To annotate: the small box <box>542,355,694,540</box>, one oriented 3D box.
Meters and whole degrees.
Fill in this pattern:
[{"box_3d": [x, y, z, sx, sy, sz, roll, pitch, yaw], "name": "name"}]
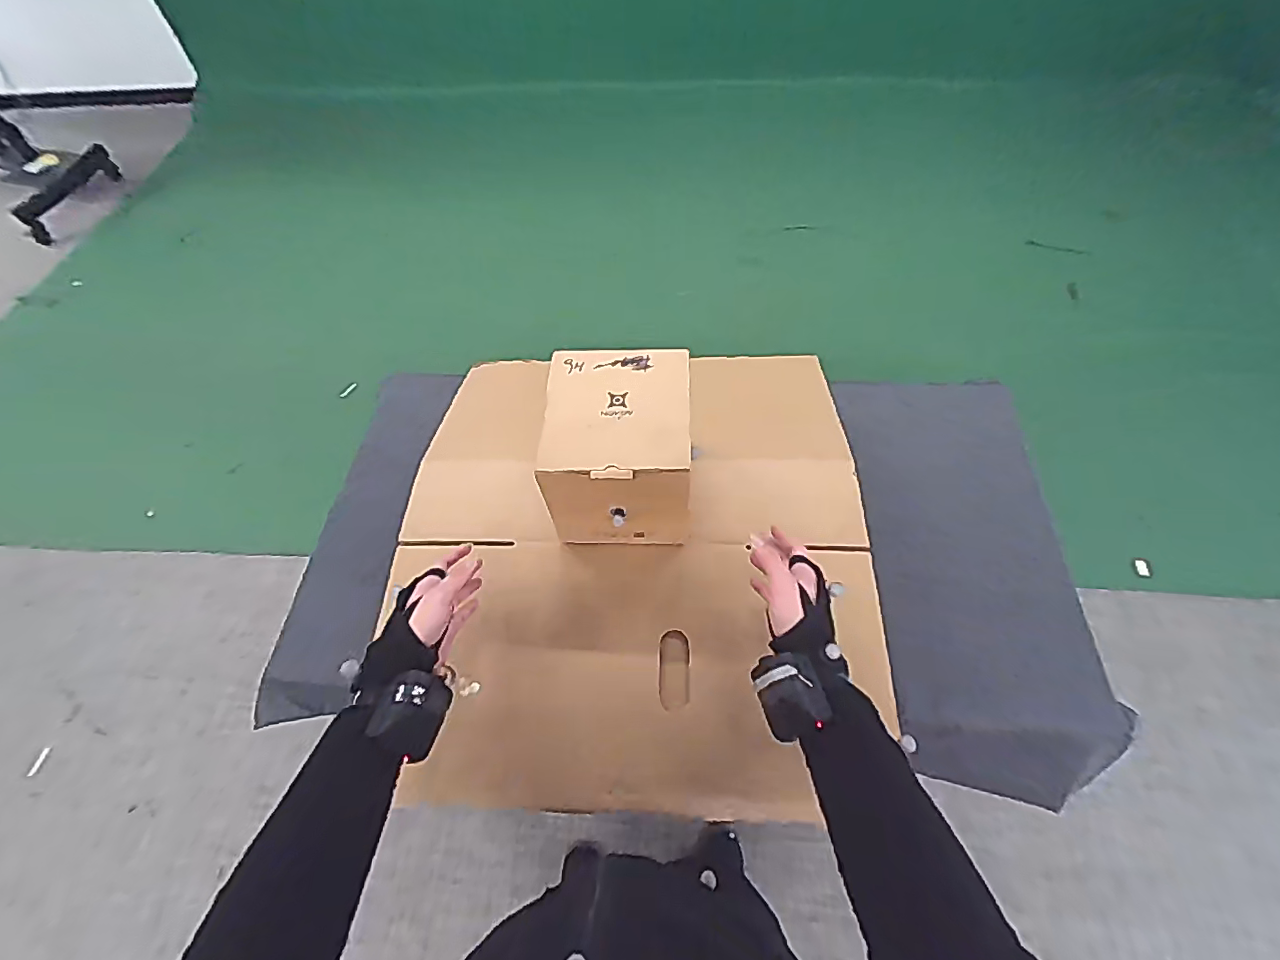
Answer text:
[{"box_3d": [-0.018, -0.032, 0.678, 0.168, 0.176, 0.179, -2, 57, 3], "name": "small box"}]
